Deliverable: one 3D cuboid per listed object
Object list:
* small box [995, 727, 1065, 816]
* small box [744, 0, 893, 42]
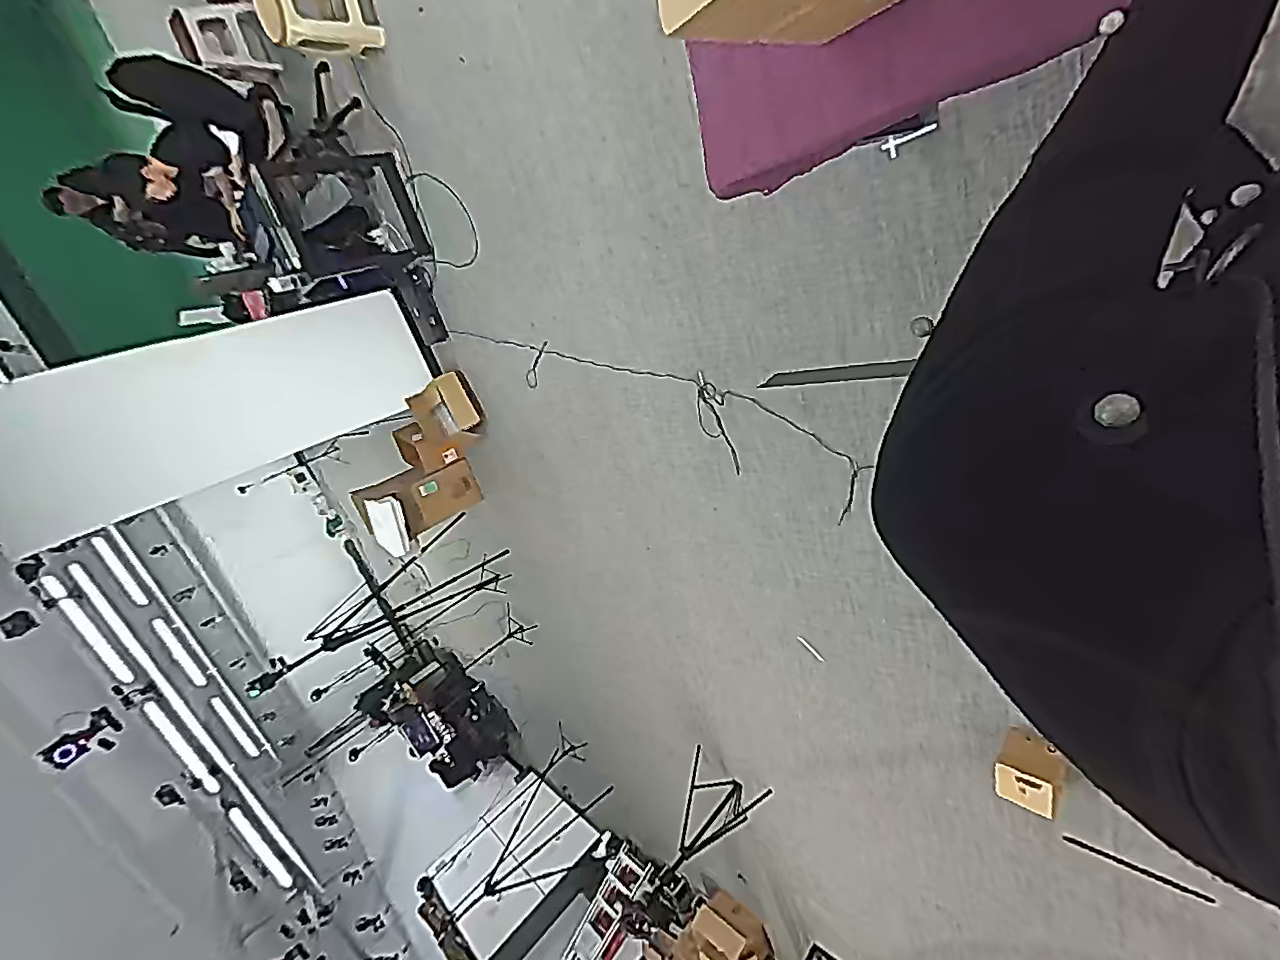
[{"bbox_3d":[1.354,1.004,1.879,0.168,0.176,0.179,9,125,48],"label":"small box"},{"bbox_3d":[0.231,-0.654,0.635,0.179,0.176,0.168,7,122,48],"label":"small box"}]
